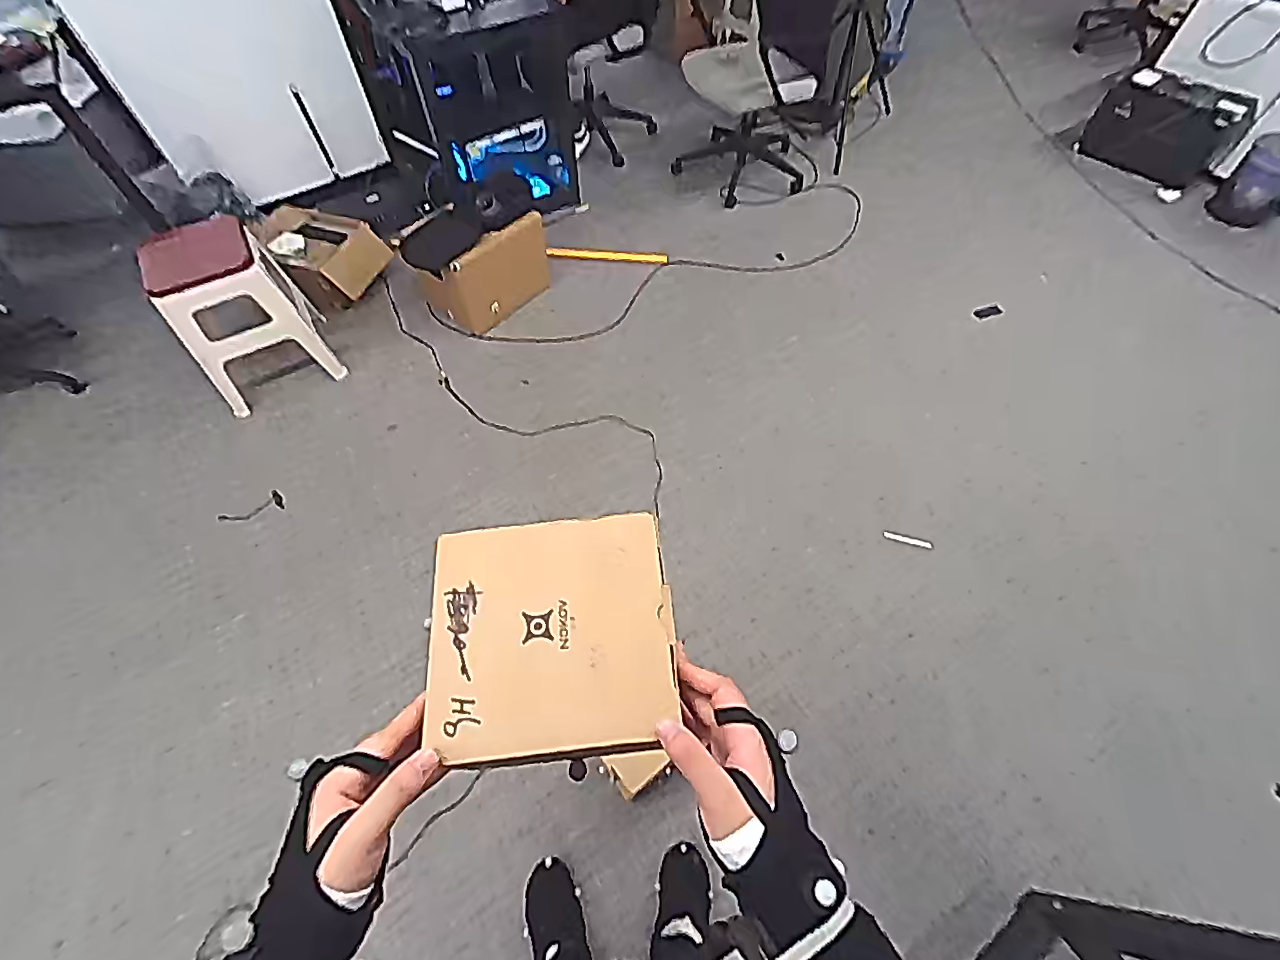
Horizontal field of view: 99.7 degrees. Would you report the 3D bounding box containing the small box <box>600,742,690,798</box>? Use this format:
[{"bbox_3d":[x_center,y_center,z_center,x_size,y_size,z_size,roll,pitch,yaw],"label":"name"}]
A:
[{"bbox_3d":[-0.006,0.607,1.258,0.179,0.176,0.168,-33,63,-18],"label":"small box"}]

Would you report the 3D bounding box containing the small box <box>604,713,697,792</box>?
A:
[{"bbox_3d":[-0.002,0.518,1.121,0.179,0.176,0.168,-34,65,-20],"label":"small box"}]

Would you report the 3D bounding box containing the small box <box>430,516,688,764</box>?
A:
[{"bbox_3d":[-0.062,0.145,0.470,0.179,0.176,0.168,-5,60,-3],"label":"small box"}]
